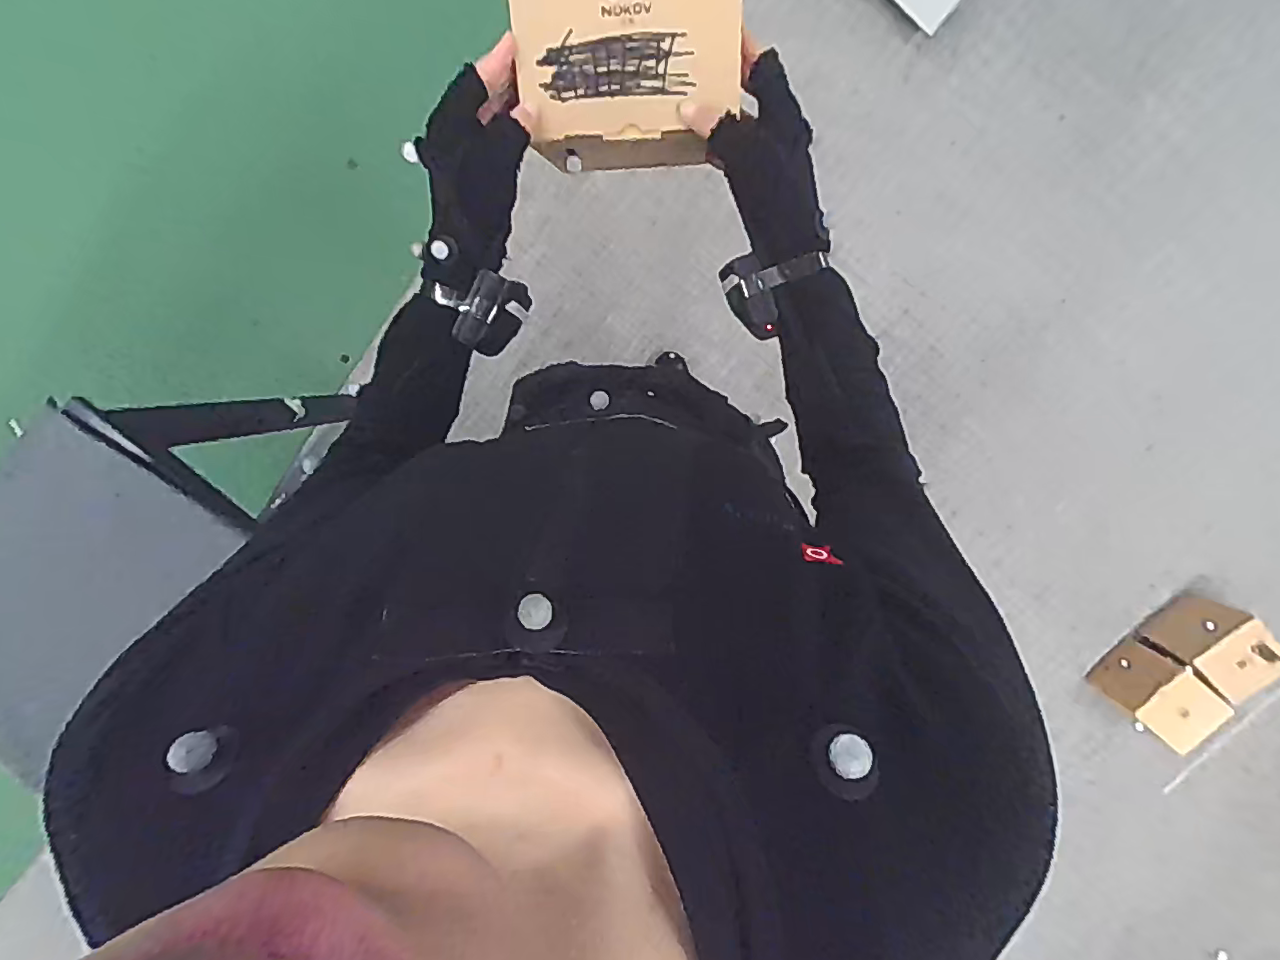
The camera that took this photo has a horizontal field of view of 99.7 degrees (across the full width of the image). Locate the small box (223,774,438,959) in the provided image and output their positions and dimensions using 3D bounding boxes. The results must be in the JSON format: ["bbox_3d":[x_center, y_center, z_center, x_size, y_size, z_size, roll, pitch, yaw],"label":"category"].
[{"bbox_3d":[-0.425,0.576,0.774,0.168,0.176,0.179,41,100,-5],"label":"small box"}]
